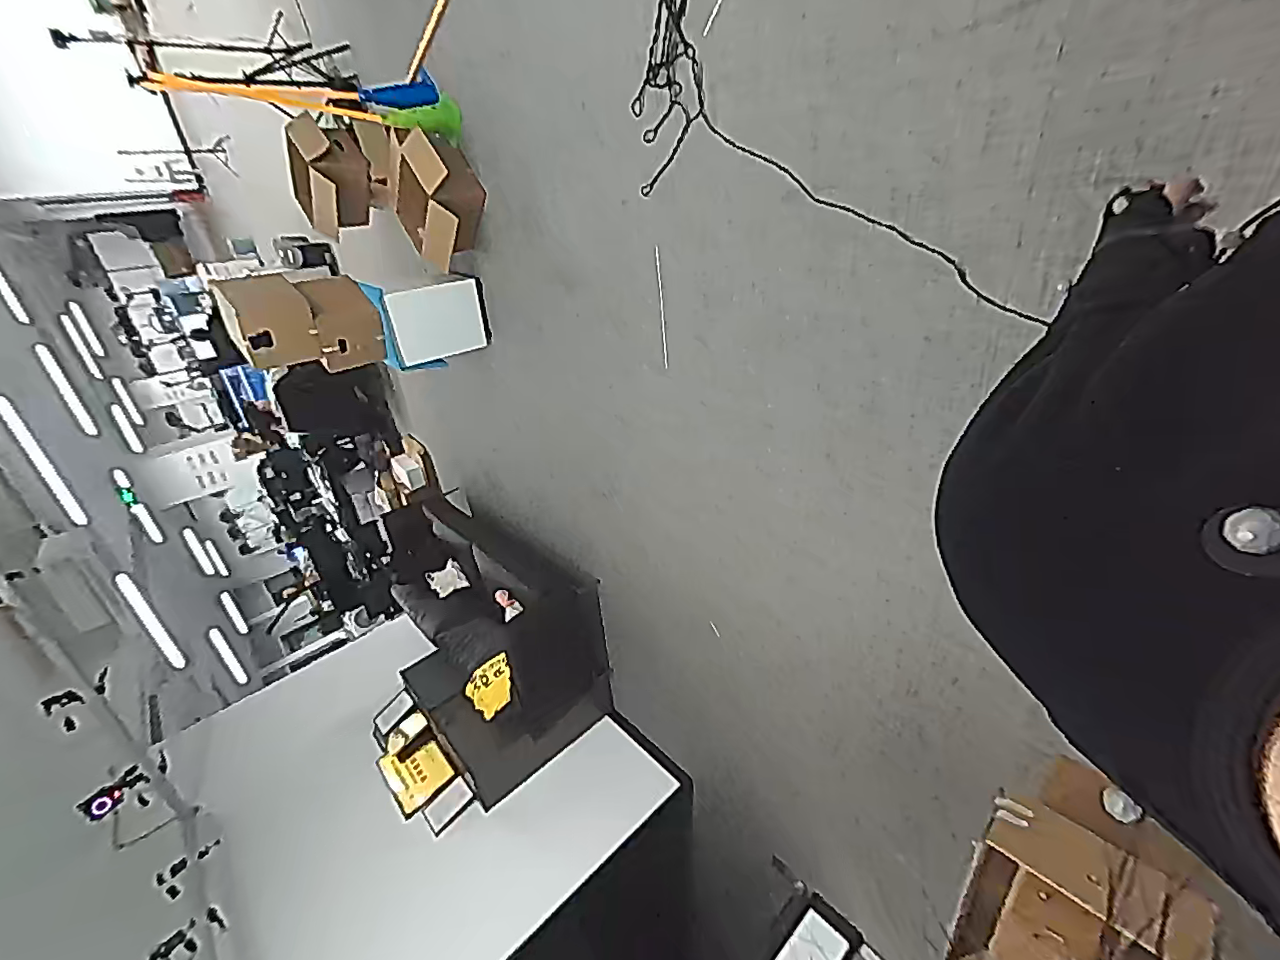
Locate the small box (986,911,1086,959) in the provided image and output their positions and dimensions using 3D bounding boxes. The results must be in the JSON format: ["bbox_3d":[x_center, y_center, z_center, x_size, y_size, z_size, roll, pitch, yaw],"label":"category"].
[{"bbox_3d":[0.849,1.085,1.148,0.168,0.176,0.179,6,117,52],"label":"small box"}]

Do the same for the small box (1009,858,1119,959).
[{"bbox_3d":[0.972,1.029,1.240,0.168,0.176,0.179,7,117,51],"label":"small box"}]
